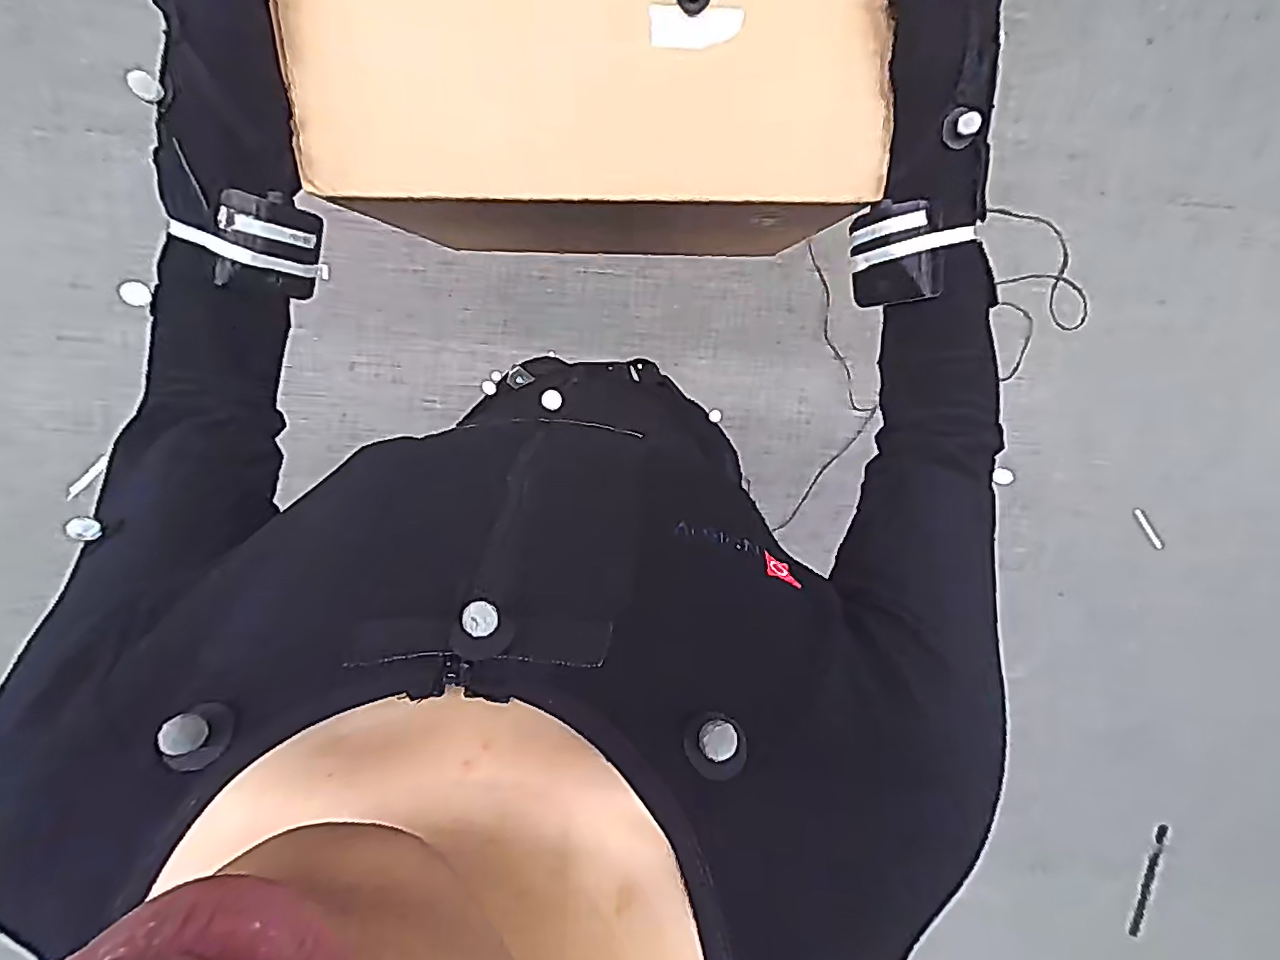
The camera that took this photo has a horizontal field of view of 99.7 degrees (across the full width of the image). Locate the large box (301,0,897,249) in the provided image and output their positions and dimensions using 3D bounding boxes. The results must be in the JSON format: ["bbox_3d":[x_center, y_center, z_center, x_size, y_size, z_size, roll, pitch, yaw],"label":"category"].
[{"bbox_3d":[-0.029,-0.399,0.491,0.408,0.320,0.320,0,106,-1],"label":"large box"}]
